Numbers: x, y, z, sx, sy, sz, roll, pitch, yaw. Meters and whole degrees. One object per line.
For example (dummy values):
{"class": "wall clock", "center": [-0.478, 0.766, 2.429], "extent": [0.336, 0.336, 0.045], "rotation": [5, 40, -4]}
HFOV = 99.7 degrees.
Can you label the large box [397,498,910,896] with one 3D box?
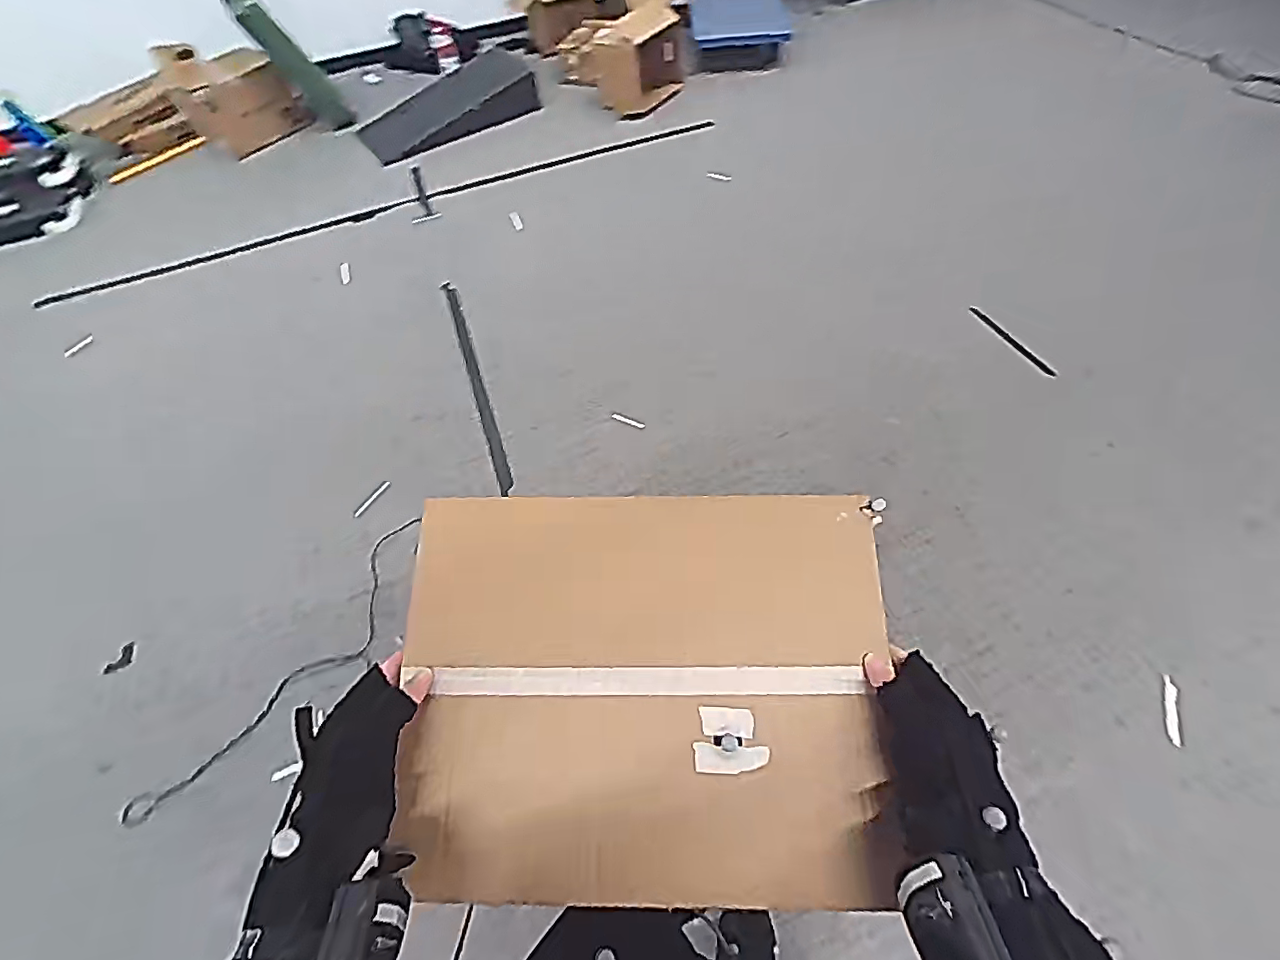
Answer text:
{"class": "large box", "center": [0.007, 0.216, 0.601], "extent": [0.408, 0.320, 0.320], "rotation": [-1, 72, 1]}
